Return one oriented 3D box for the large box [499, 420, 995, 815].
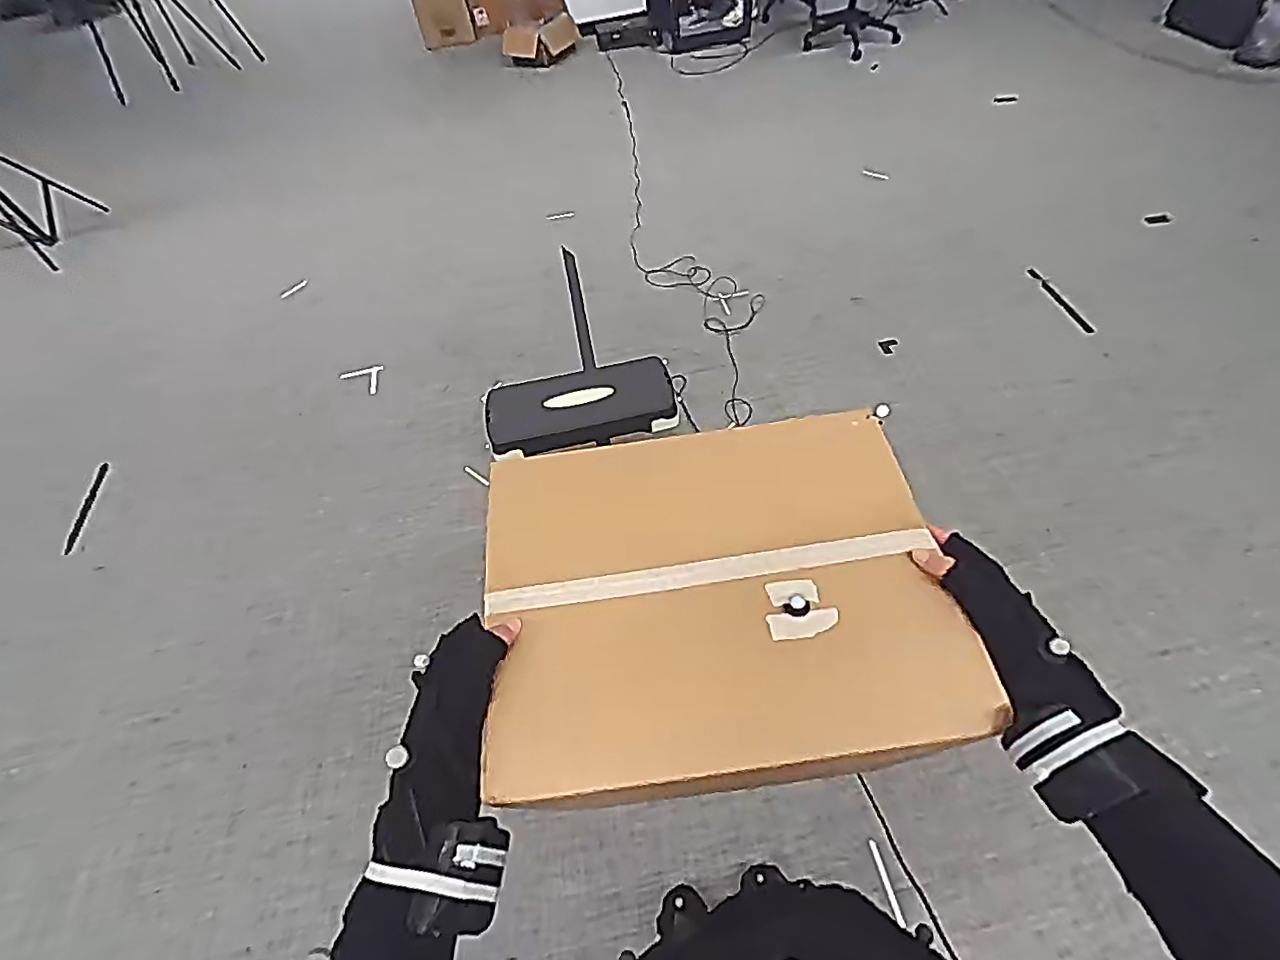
[{"bbox_3d":[0.076,0.173,0.625,0.408,0.320,0.320,-9,57,0],"label":"large box"}]
